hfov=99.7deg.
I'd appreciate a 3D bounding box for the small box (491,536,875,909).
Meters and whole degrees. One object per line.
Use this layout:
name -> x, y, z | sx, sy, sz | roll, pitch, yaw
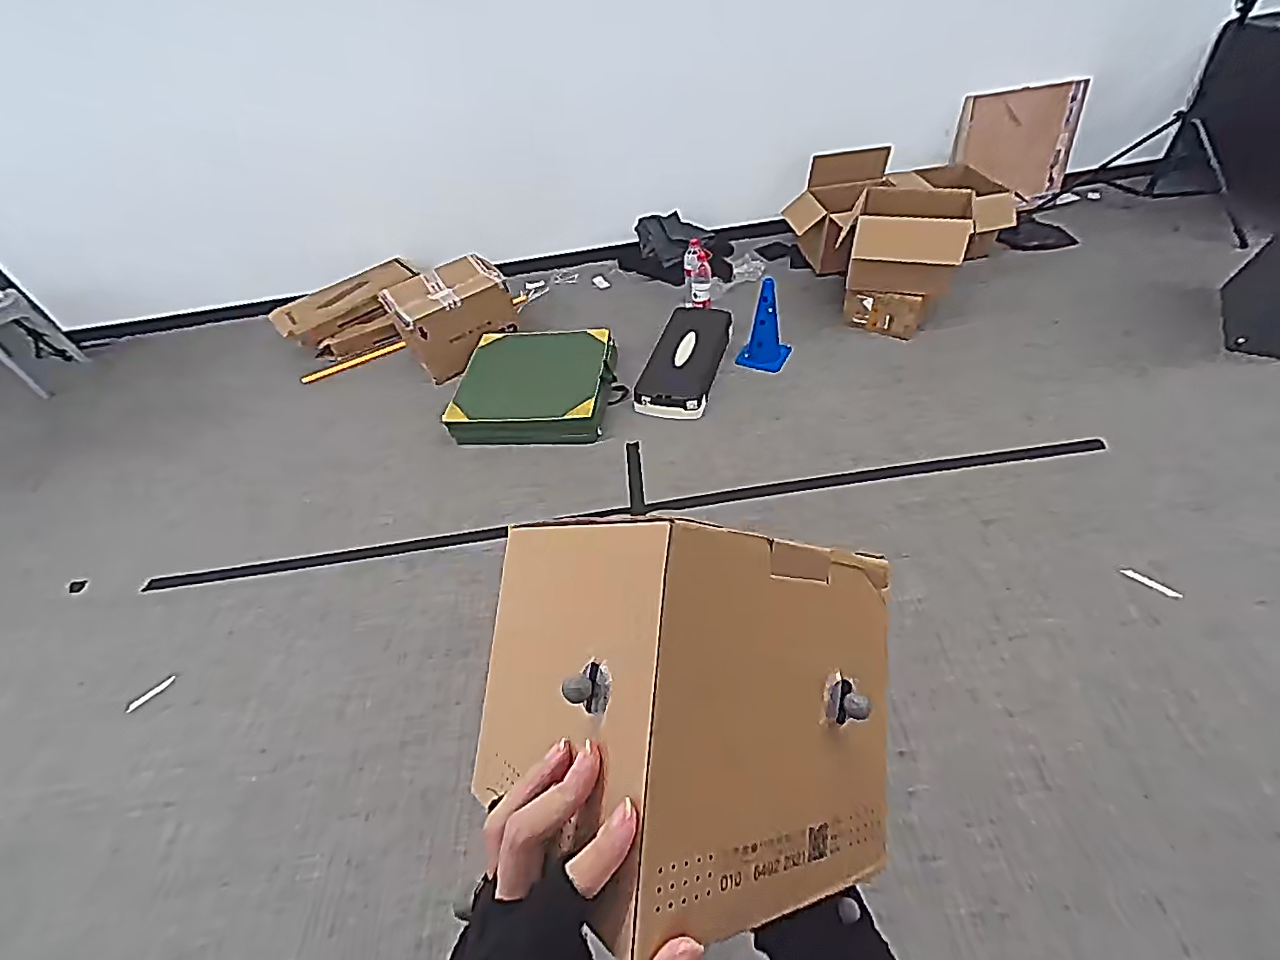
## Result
small box -> 0.022, 0.129, 0.339 | 0.179, 0.168, 0.176 | -10, 71, 54
